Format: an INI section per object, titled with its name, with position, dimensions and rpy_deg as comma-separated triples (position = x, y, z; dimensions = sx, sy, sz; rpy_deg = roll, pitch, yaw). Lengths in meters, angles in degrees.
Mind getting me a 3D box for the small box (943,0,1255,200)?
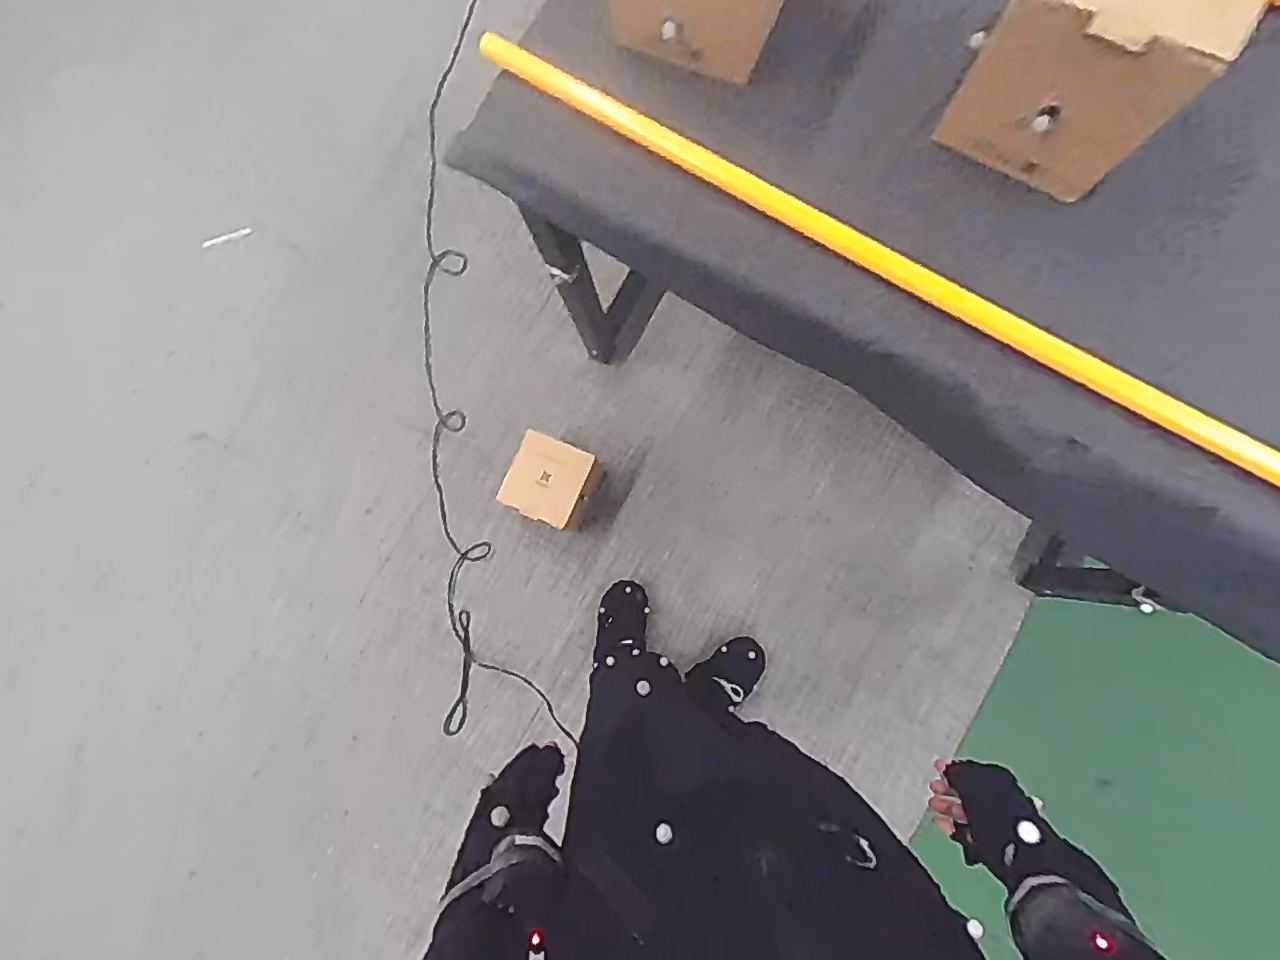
[small box]
position = 0.425, -0.411, 0.515
dimensions = 0.168, 0.176, 0.179
rpy_deg = 28, 85, 9
